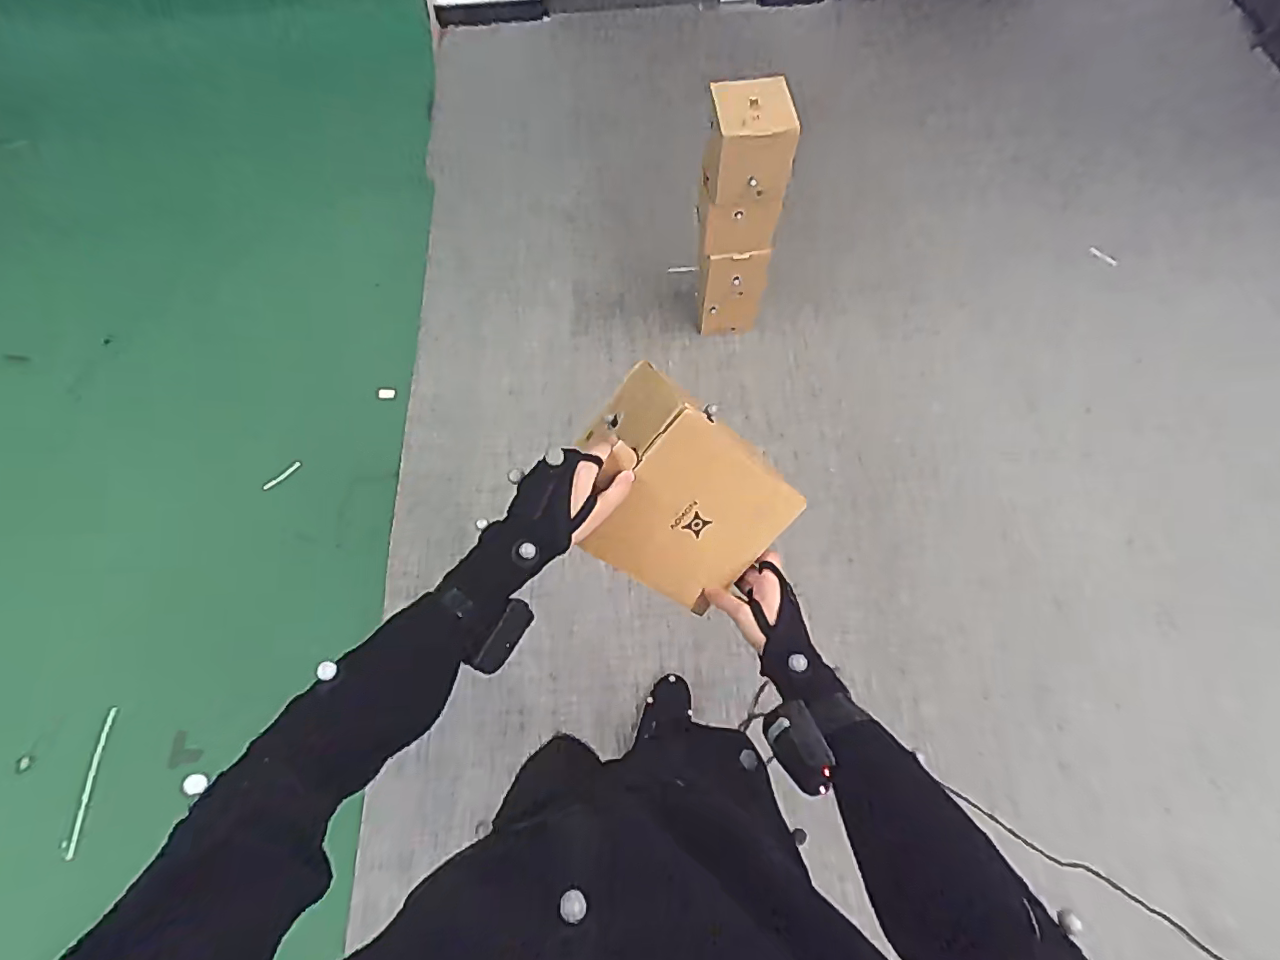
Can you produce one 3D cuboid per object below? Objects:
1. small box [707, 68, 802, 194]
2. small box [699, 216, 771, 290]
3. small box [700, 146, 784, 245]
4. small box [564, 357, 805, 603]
[{"bbox_3d":[0.247,-0.778,1.214,0.168,0.176,0.179,-6,69,0],"label":"small box"},{"bbox_3d":[0.261,-0.653,1.519,0.168,0.176,0.179,-5,69,-1],"label":"small box"},{"bbox_3d":[0.248,-0.718,1.368,0.179,0.176,0.168,-4,68,-1],"label":"small box"},{"bbox_3d":[0.035,-0.008,0.583,0.179,0.176,0.168,35,105,-24],"label":"small box"}]
